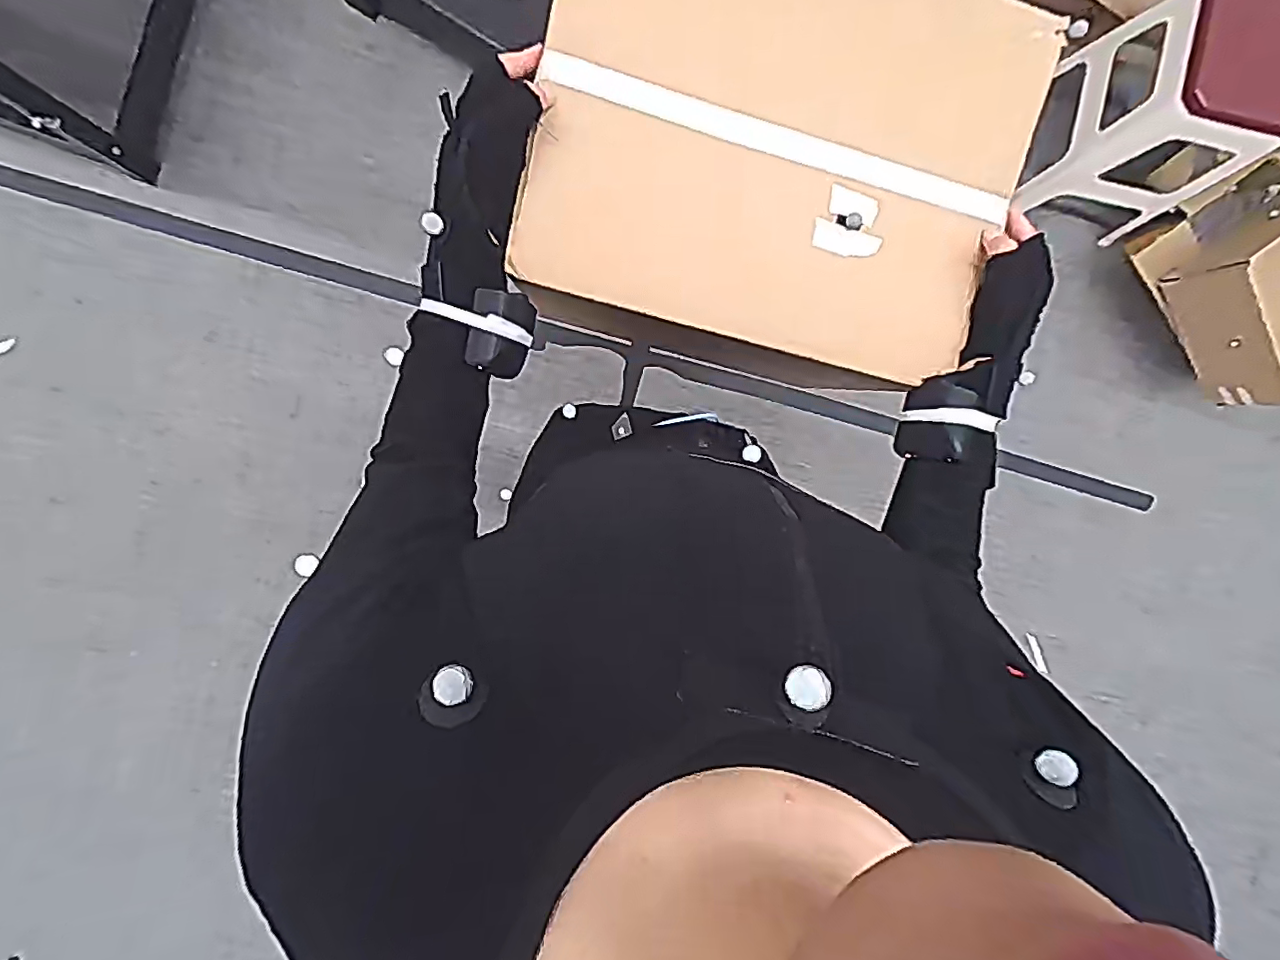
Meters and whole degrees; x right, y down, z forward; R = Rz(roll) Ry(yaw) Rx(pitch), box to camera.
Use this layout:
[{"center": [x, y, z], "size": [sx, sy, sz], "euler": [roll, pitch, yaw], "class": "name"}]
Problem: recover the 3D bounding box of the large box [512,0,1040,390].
[{"center": [0.099, -0.297, 0.598], "size": [0.408, 0.320, 0.320], "euler": [13, 100, -9], "class": "large box"}]
